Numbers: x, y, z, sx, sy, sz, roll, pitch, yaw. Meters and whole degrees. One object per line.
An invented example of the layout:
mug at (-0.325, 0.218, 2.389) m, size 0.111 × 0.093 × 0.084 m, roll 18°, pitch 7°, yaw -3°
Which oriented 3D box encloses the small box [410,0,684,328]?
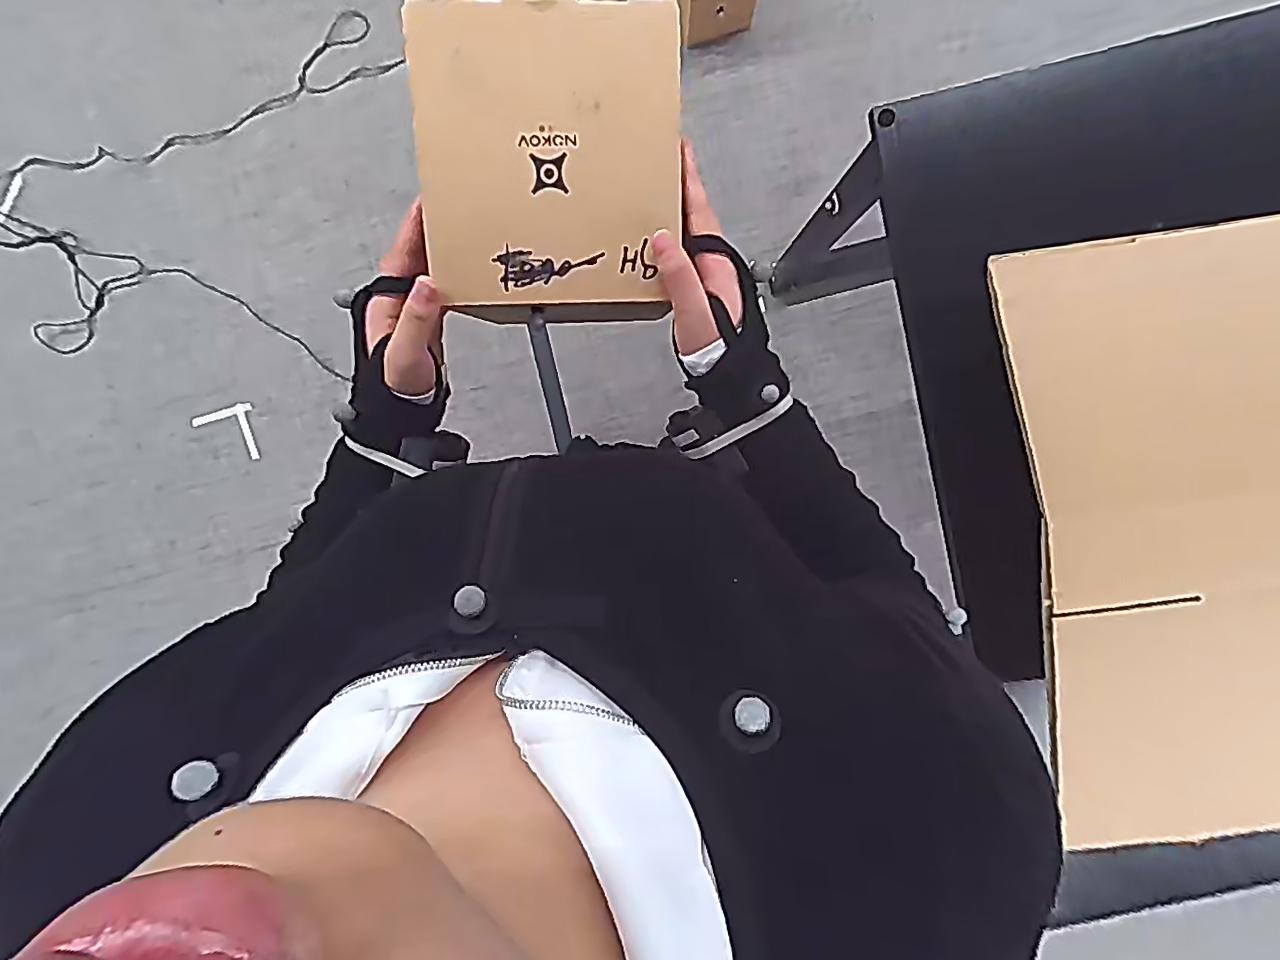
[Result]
small box at (-0.058, -0.216, 0.416) m, size 0.168 × 0.176 × 0.179 m, roll -2°, pitch 102°, yaw -2°

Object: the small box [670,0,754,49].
small box at (0.172, -1.197, 1.299) m, size 0.179 × 0.176 × 0.168 m, roll -17°, pitch 95°, yaw 3°
